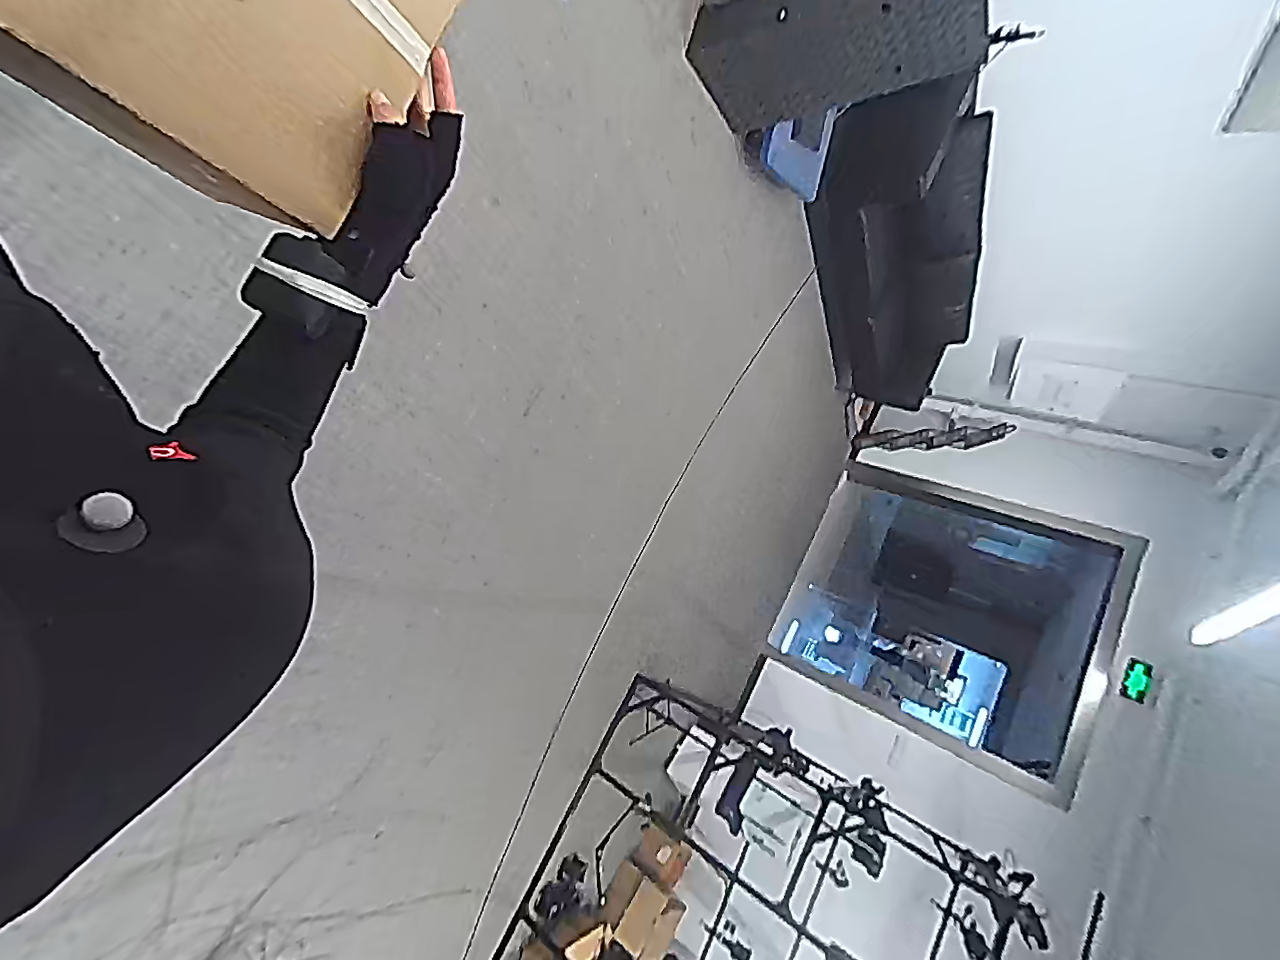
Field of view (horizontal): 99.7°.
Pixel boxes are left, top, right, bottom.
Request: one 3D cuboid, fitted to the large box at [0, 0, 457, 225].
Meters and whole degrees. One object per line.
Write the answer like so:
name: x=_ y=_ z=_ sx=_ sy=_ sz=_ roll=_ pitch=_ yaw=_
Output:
large box: x=-0.384 y=-0.444 z=0.352 sx=0.320 sy=0.320 sz=0.408 roll=-61 pitch=146 yaw=0
